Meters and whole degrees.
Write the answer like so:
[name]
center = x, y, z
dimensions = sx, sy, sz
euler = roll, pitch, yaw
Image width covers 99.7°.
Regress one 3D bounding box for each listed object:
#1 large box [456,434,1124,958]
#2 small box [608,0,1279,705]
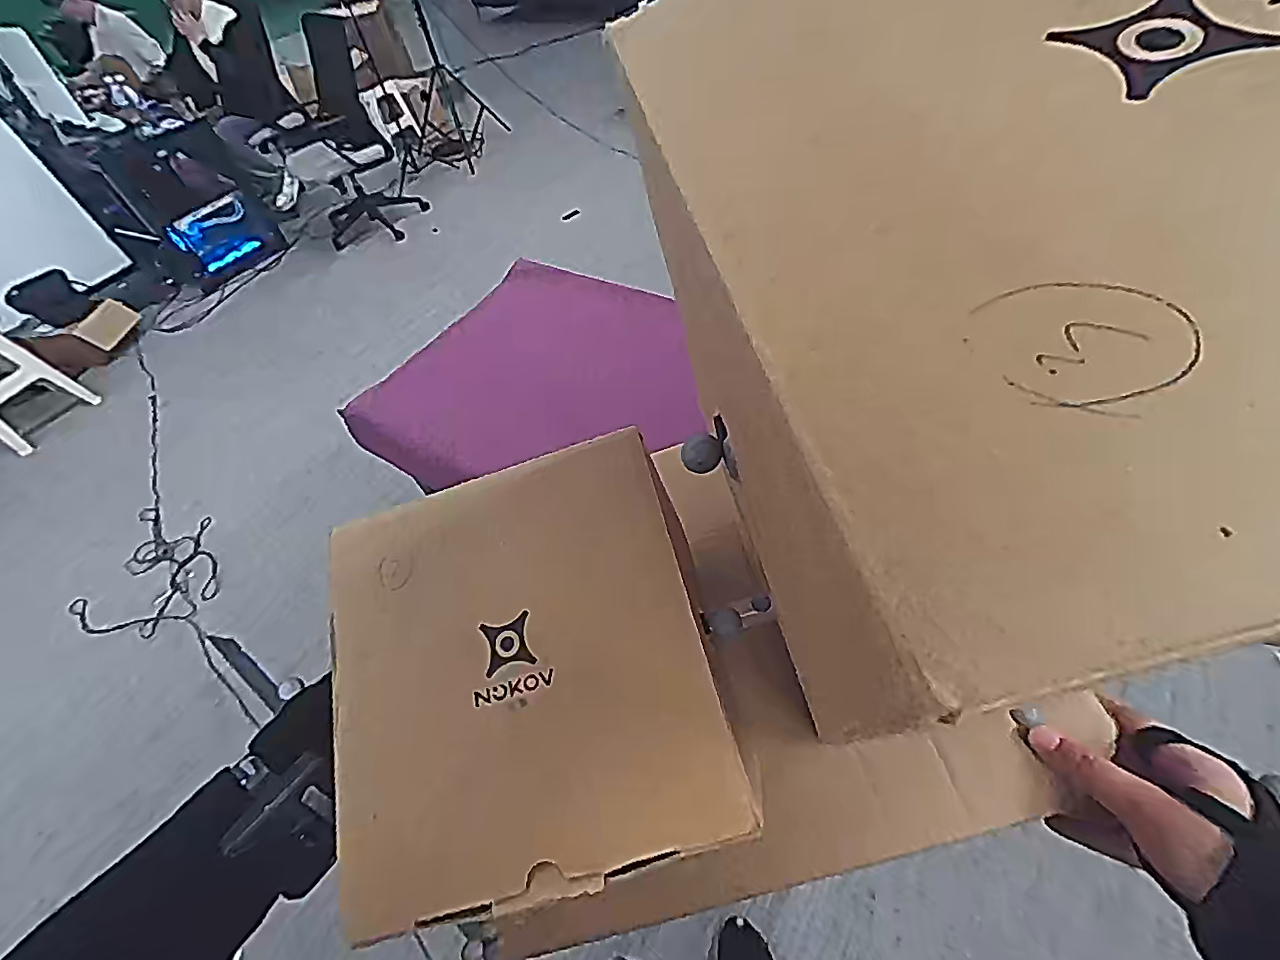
[large box]
center = 0.094, 0.171, 0.525
dimensions = 0.408, 0.320, 0.320
euler = -20, 58, 5
[small box]
center = 0.109, -0.044, 0.157
dimensions = 0.179, 0.176, 0.168
euler = -18, 61, 5
